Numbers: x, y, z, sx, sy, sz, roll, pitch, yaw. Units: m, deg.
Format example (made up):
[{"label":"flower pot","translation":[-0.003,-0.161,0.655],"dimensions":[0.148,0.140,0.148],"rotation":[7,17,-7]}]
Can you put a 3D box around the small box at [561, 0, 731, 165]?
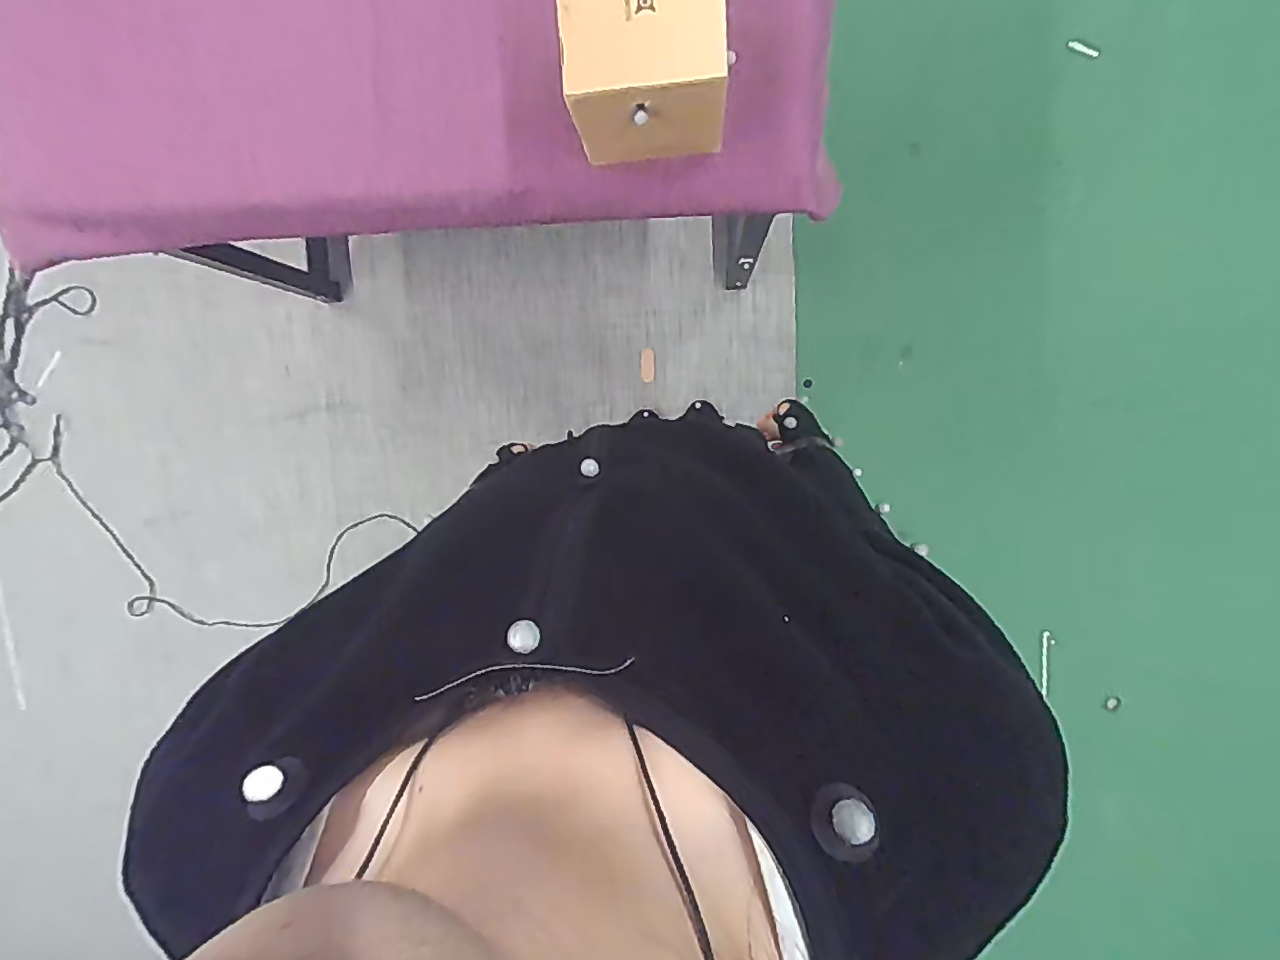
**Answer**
[{"label":"small box","translation":[0.013,-0.502,0.640],"dimensions":[0.179,0.176,0.168],"rotation":[-3,98,8]}]
